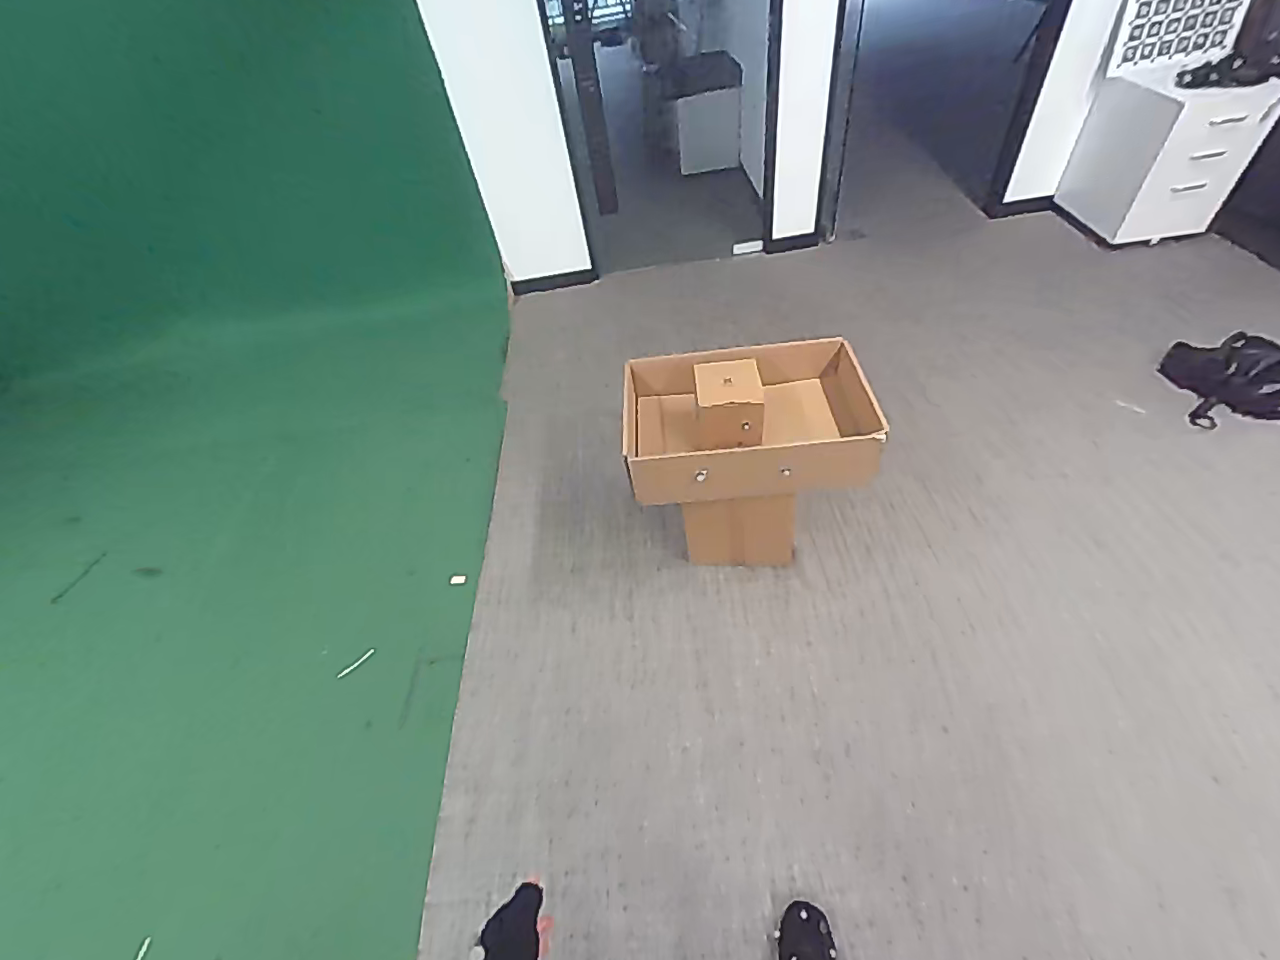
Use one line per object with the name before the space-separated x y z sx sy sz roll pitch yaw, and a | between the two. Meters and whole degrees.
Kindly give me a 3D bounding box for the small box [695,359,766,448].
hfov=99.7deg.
small box | 0.236 -0.198 1.434 0.168 0.176 0.179 -4 46 3
